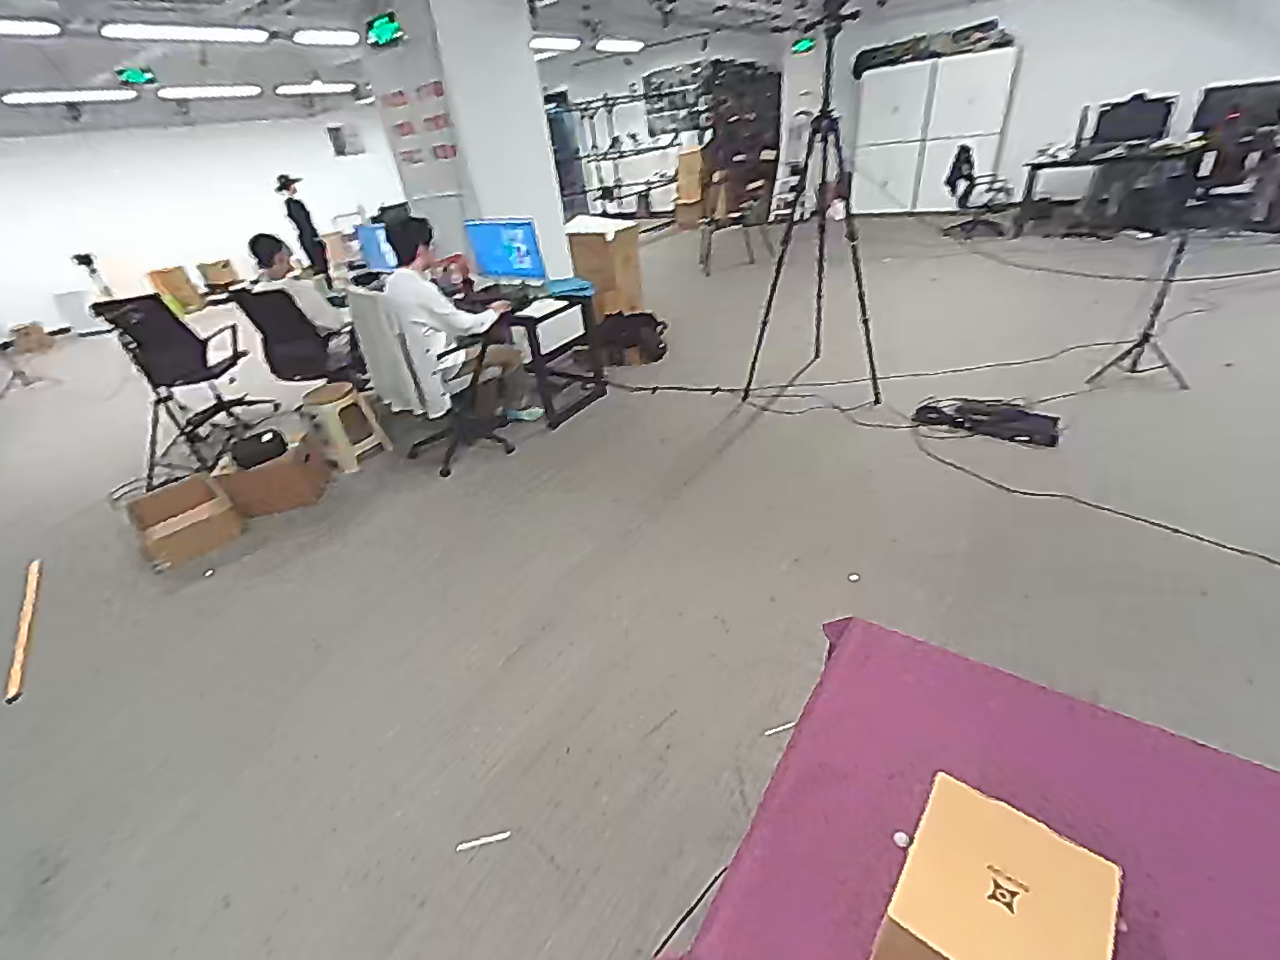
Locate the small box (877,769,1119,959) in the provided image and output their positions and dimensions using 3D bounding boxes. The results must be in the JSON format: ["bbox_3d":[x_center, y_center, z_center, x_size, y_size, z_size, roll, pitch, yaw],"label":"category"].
[{"bbox_3d":[0.362,0.462,0.566,0.168,0.176,0.179,19,41,36],"label":"small box"}]
